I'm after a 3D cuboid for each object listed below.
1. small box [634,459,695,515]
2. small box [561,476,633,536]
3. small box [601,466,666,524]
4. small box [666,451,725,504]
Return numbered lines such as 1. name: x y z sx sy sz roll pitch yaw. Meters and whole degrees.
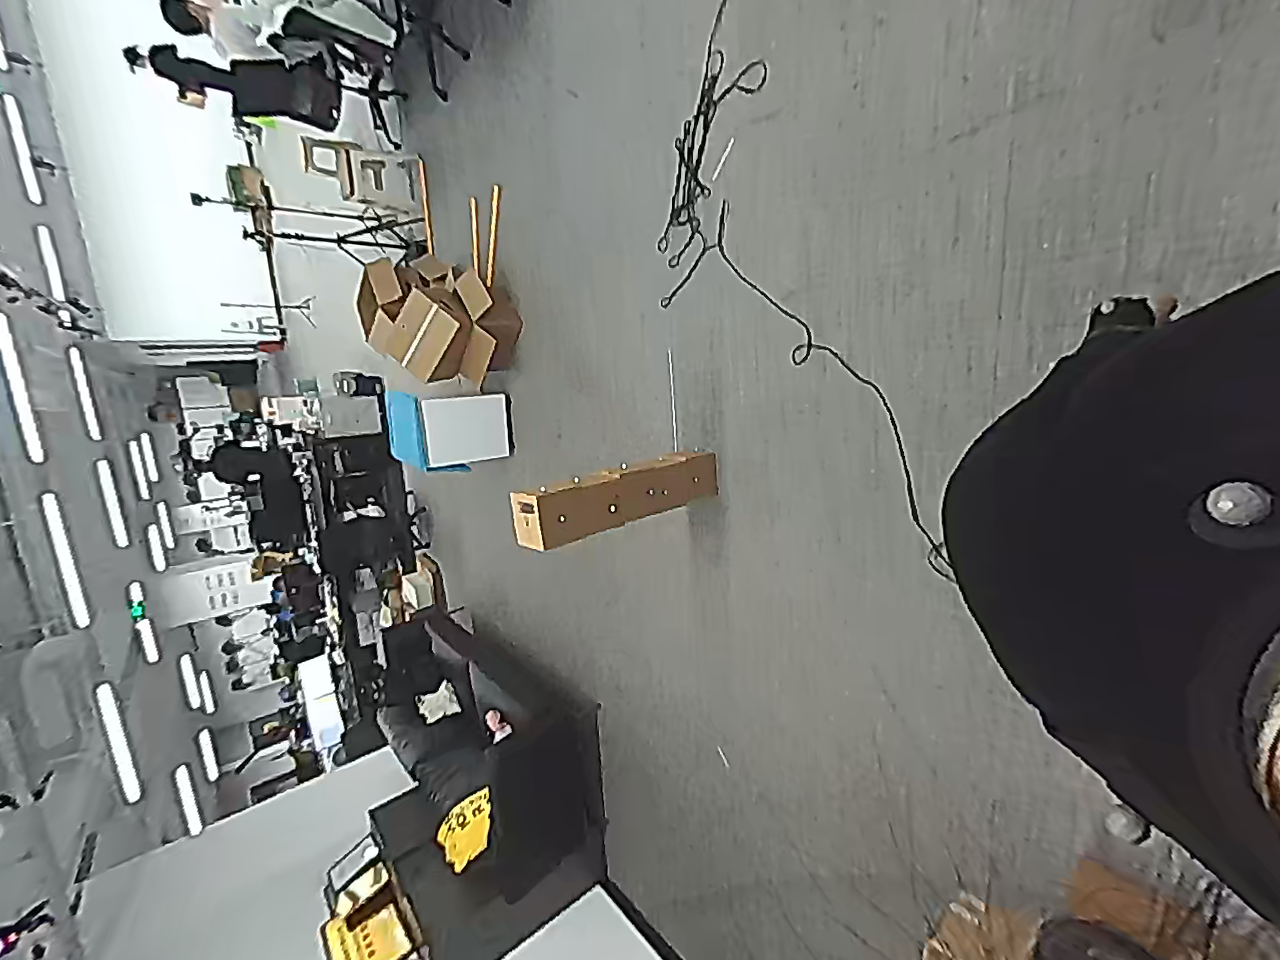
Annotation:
1. small box: 0.096 0.022 2.056 0.168 0.176 0.179 9 107 50
2. small box: -0.146 0.081 1.845 0.179 0.176 0.168 5 105 50
3. small box: -0.022 0.048 1.945 0.168 0.176 0.179 6 104 51
4. small box: 0.223 -0.016 2.153 0.168 0.176 0.179 9 106 51
